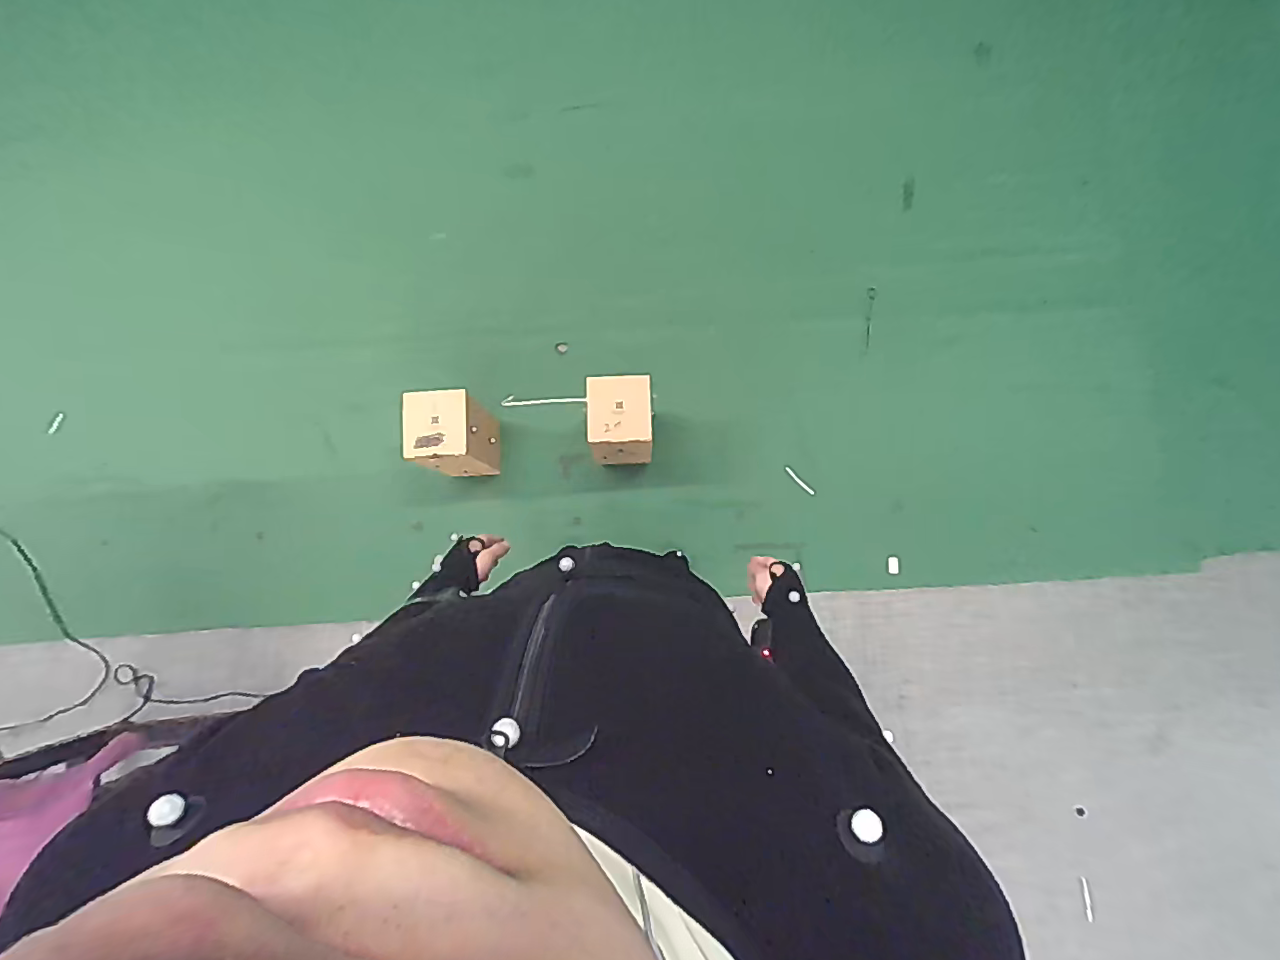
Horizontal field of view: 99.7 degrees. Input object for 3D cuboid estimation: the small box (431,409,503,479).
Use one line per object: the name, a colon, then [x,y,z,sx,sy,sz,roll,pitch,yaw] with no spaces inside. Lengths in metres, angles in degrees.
small box: [-0.517,-0.103,1.628,0.168,0.176,0.179,-4,82,1]

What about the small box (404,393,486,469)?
small box: [-0.521,-0.126,1.465,0.168,0.176,0.179,-4,82,1]

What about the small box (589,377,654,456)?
small box: [-0.049,-0.167,1.458,0.168,0.176,0.179,-2,82,1]
